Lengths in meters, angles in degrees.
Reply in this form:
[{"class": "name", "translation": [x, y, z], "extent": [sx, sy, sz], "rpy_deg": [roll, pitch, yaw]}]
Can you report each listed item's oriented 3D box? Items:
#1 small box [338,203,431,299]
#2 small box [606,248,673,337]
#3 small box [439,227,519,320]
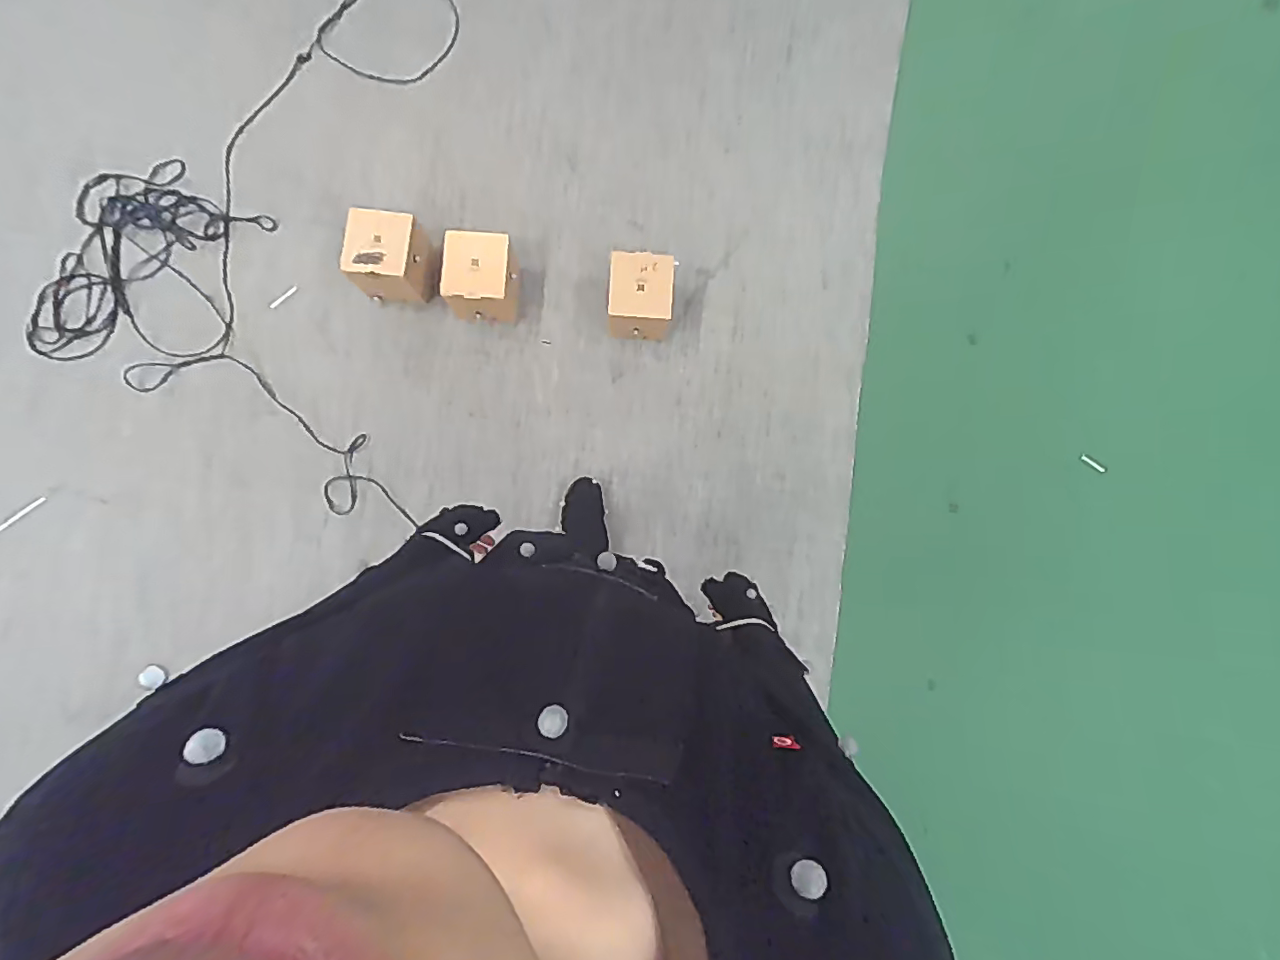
[{"class": "small box", "translation": [-0.676, -0.604, 1.450], "extent": [0.168, 0.176, 0.179], "rpy_deg": [6, 84, -2]}, {"class": "small box", "translation": [-0.003, -0.500, 1.468], "extent": [0.168, 0.176, 0.179], "rpy_deg": [4, 85, -3]}, {"class": "small box", "translation": [-0.427, -0.550, 1.456], "extent": [0.168, 0.176, 0.179], "rpy_deg": [3, 86, -2]}]
